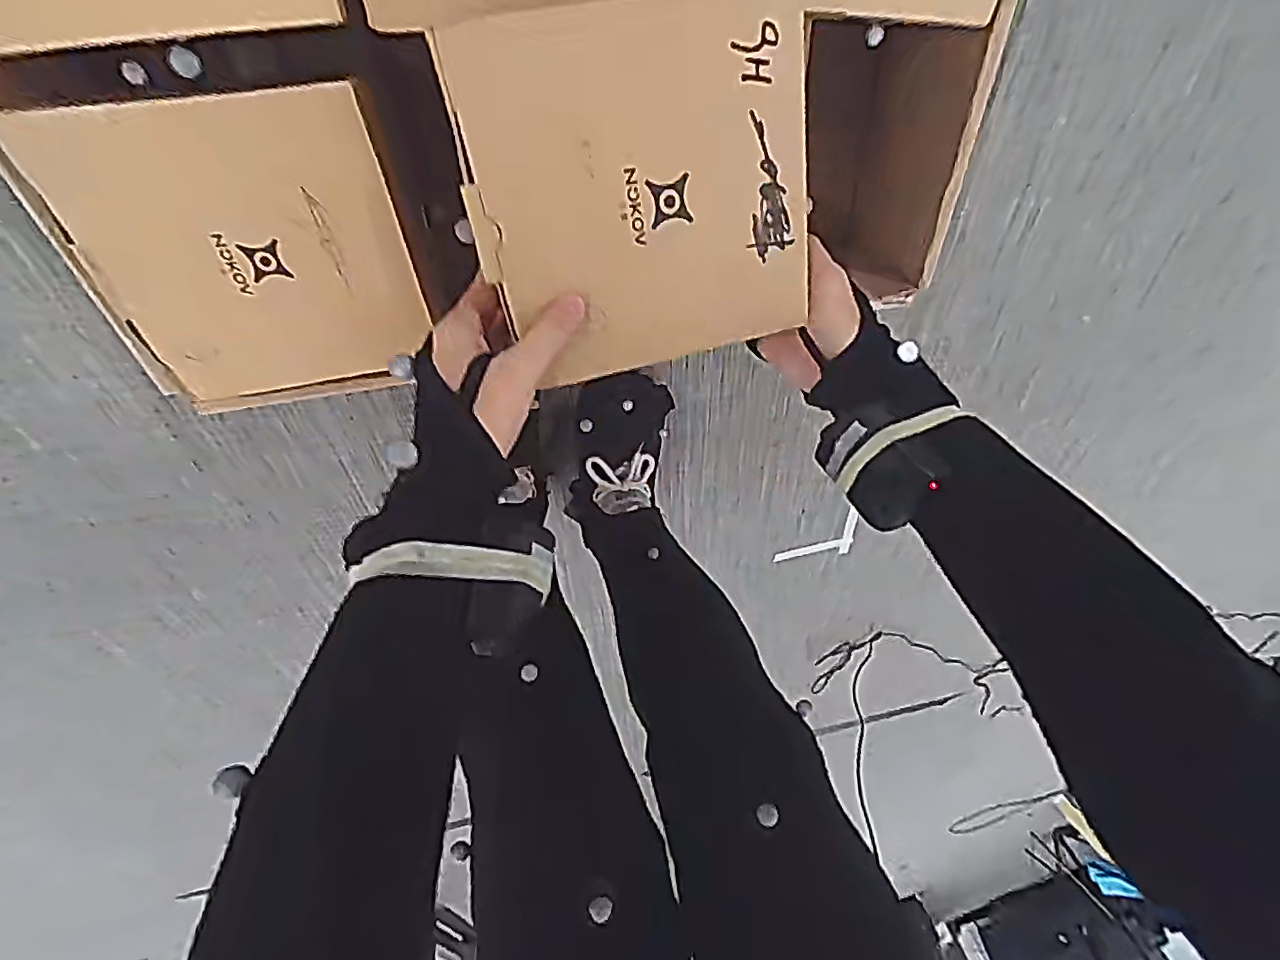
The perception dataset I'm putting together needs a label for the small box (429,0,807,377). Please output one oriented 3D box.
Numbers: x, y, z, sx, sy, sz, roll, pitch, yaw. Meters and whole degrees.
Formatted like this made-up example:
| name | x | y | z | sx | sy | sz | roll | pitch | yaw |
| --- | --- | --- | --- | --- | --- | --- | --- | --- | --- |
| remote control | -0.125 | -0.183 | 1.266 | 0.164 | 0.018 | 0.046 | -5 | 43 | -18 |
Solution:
| name | x | y | z | sx | sy | sz | roll | pitch | yaw |
| --- | --- | --- | --- | --- | --- | --- | --- | --- | --- |
| small box | -0.015 | -0.182 | 0.346 | 0.179 | 0.176 | 0.168 | -14 | 121 | -9 |
